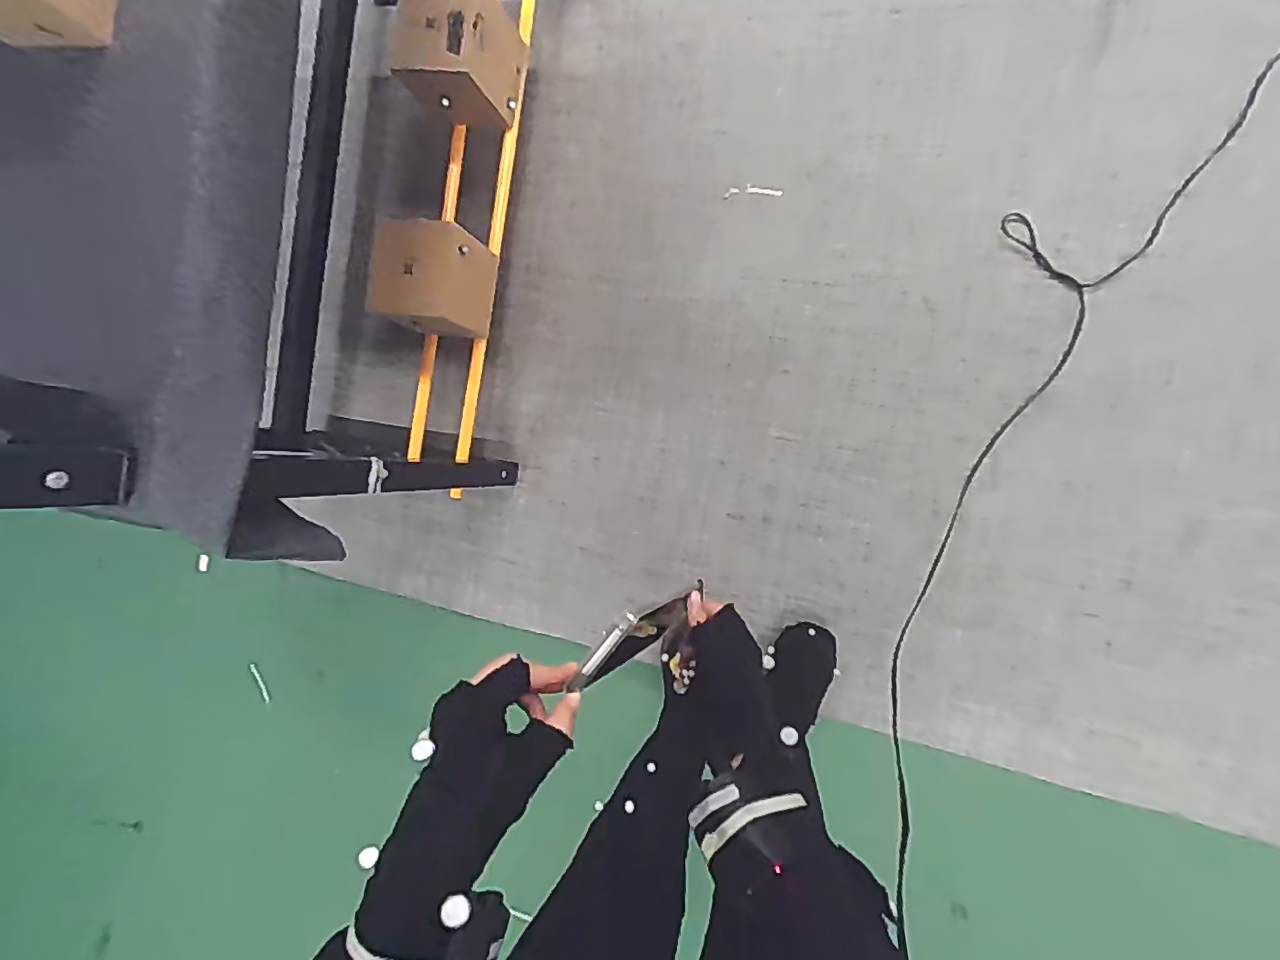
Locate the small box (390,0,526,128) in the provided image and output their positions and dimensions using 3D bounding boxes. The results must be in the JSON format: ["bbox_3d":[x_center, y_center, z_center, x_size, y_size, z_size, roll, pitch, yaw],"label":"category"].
[{"bbox_3d":[-0.342,-0.815,1.046,0.179,0.176,0.168,13,94,15],"label":"small box"}]

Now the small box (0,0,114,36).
[{"bbox_3d":[-0.602,-0.536,0.474,0.168,0.176,0.179,13,94,15],"label":"small box"}]
